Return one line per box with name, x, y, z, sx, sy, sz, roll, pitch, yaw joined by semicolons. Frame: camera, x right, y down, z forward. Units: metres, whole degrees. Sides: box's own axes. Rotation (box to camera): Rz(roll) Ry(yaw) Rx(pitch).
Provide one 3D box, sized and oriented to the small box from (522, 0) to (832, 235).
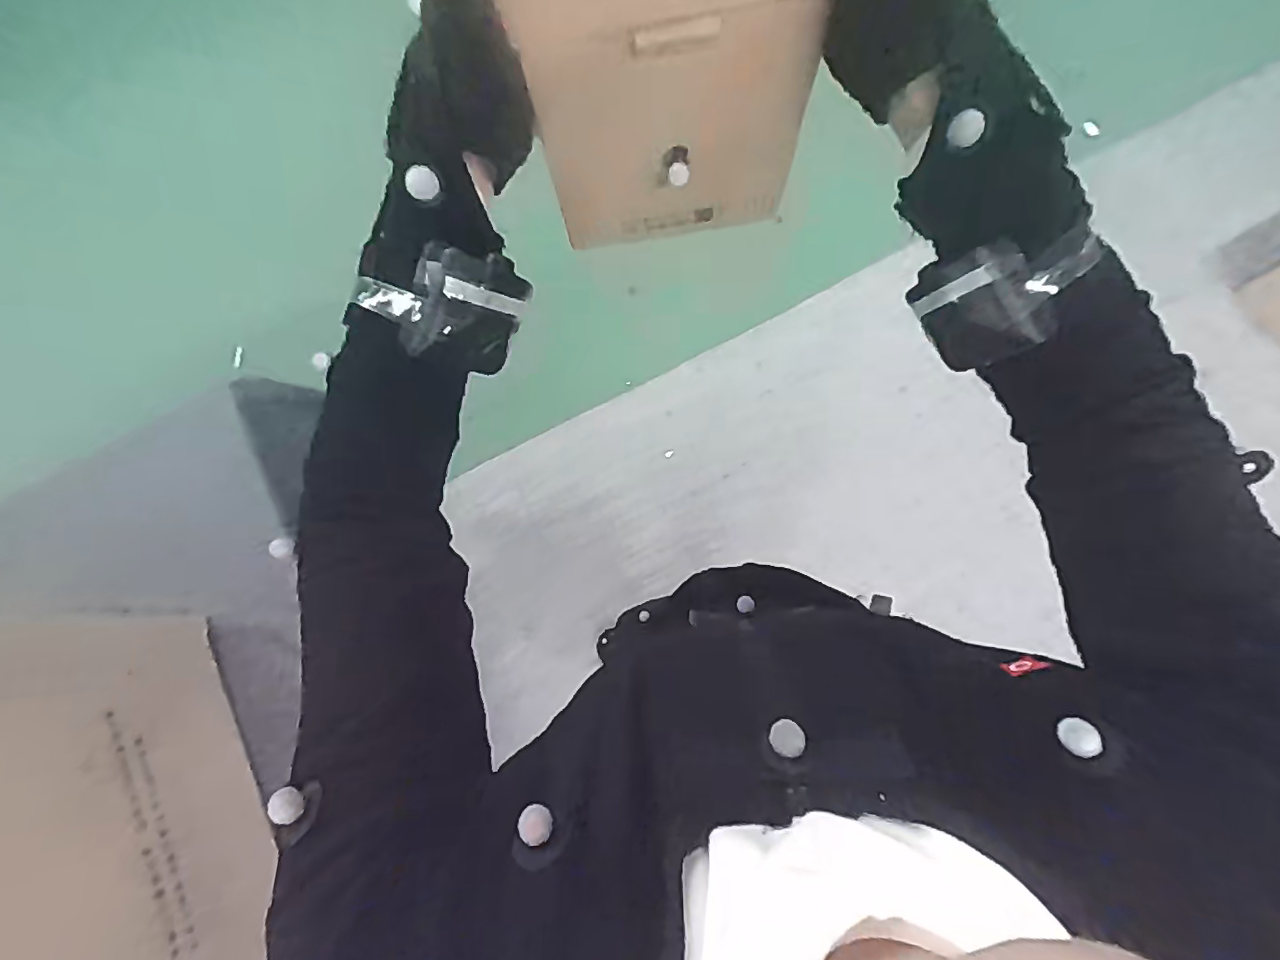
small box;0.017;-0.296;0.377;0.168;0.176;0.179;-7;78;2
